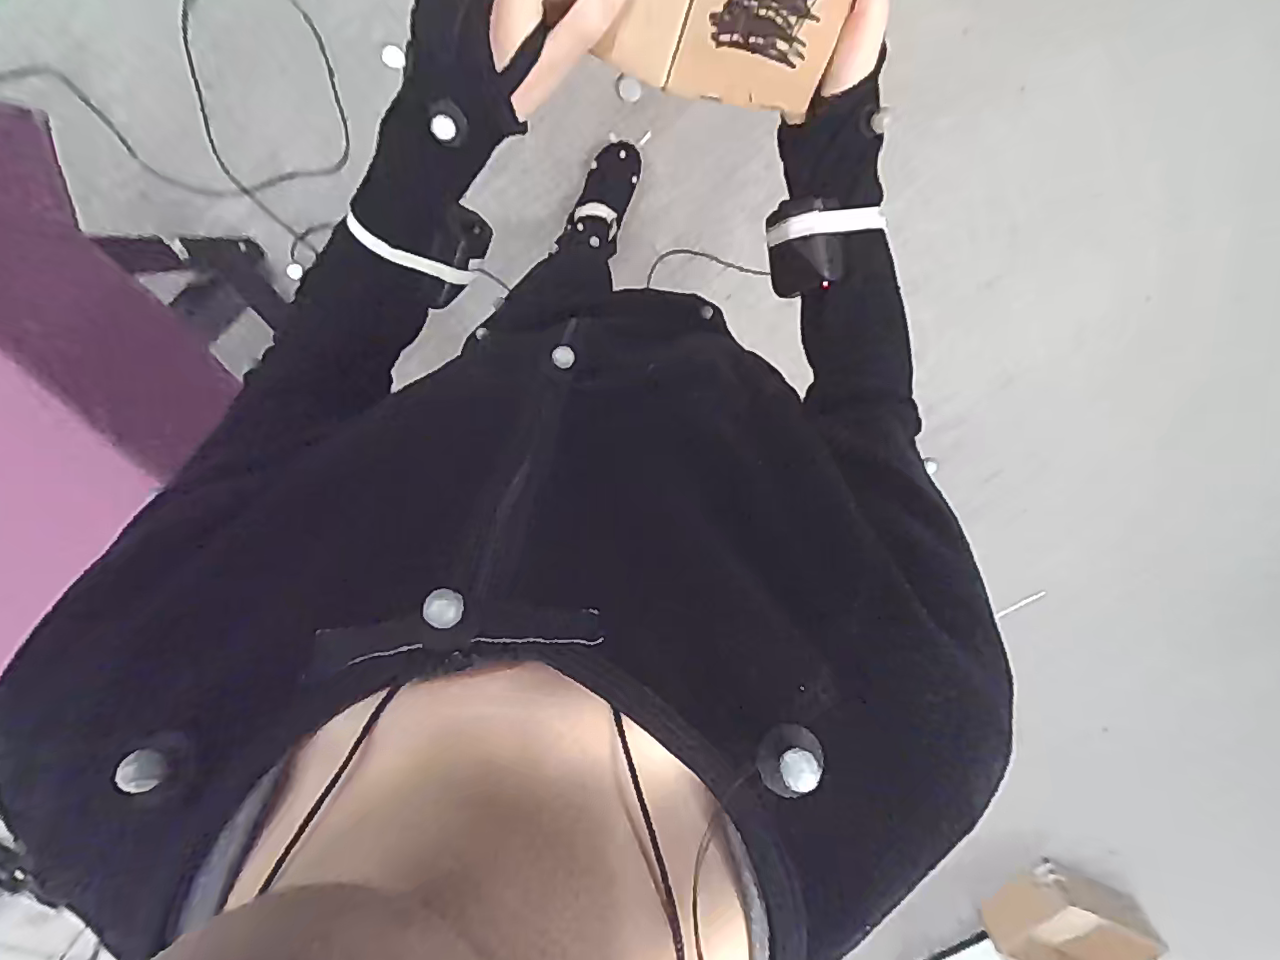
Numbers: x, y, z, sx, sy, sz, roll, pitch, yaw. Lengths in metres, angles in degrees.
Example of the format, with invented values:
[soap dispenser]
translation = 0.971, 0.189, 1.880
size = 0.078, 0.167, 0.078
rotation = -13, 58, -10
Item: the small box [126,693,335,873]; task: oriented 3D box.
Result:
[small box]
translation = -0.647, 0.488, 0.884
size = 0.168, 0.176, 0.179
rotation = -23, 110, 10
